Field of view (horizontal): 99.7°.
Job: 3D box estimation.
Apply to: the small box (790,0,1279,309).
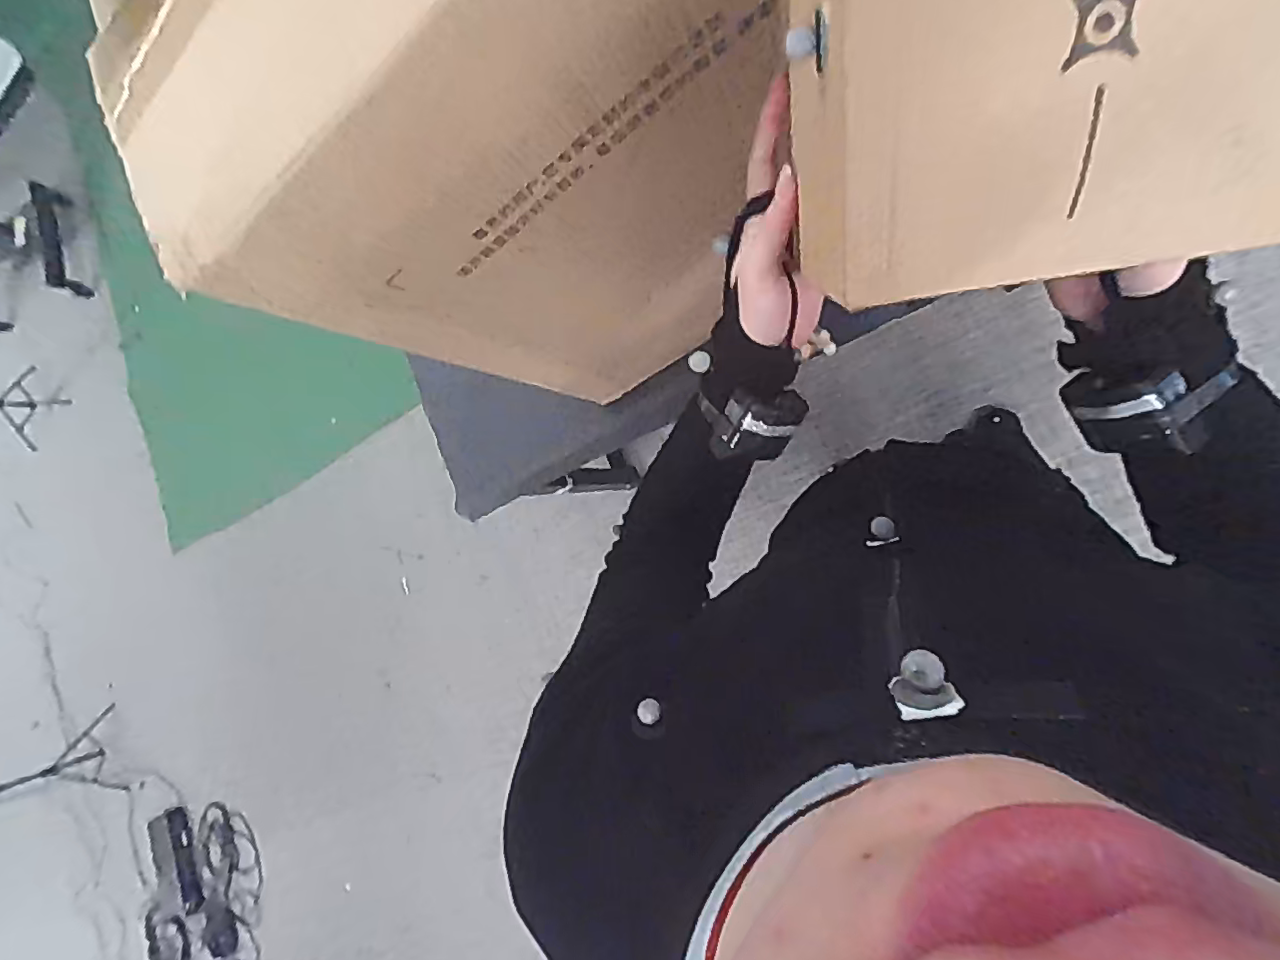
[{"bbox_3d":[0.164,-0.190,0.251,0.168,0.176,0.179,-5,116,10],"label":"small box"}]
